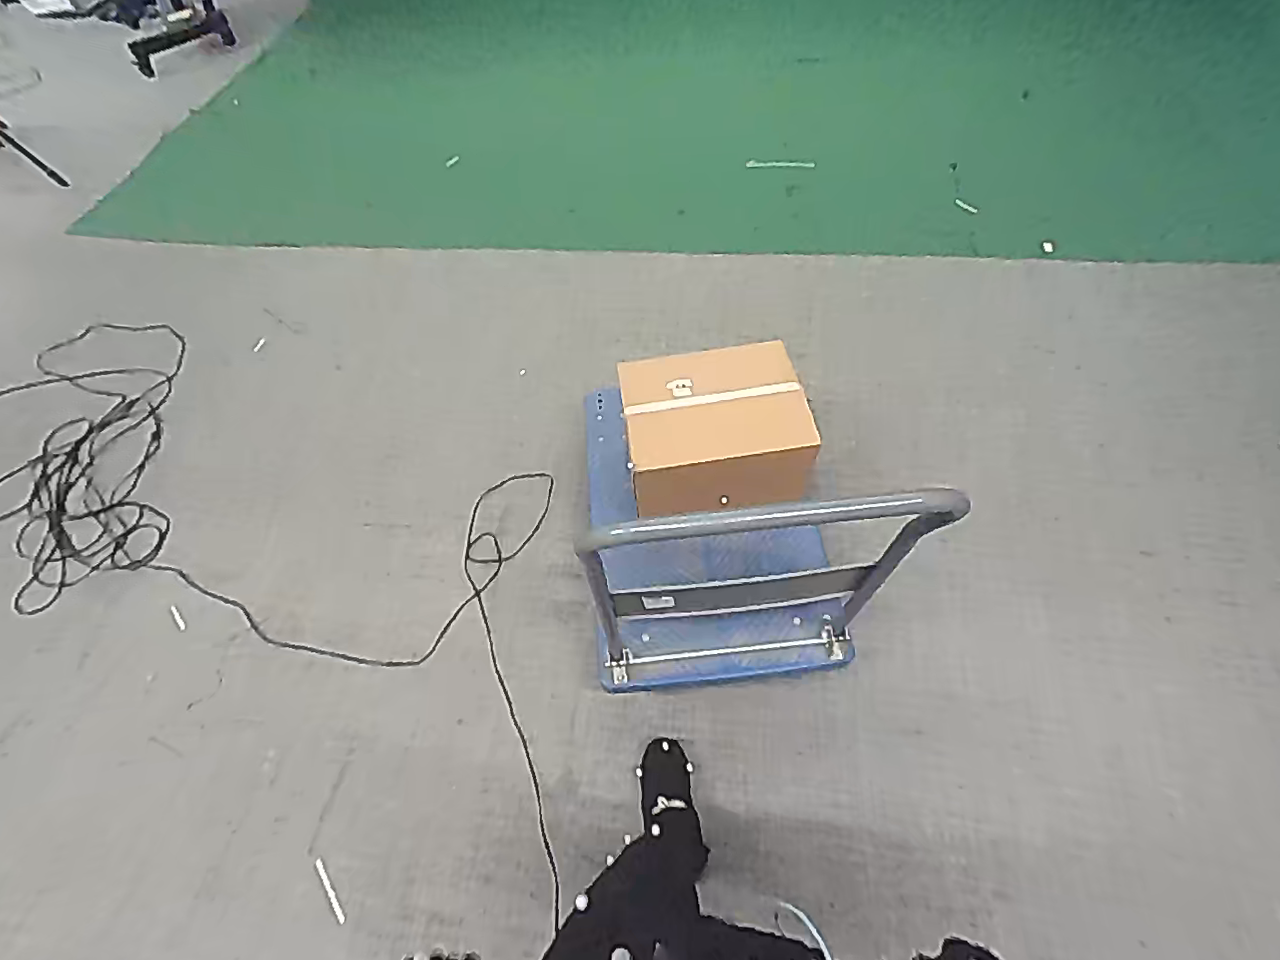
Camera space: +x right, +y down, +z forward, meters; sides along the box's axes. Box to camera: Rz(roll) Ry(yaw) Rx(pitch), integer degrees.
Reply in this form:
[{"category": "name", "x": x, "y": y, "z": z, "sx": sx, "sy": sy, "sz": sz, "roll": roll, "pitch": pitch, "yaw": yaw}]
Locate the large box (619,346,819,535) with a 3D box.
[{"category": "large box", "x": 0.178, "y": -0.089, "z": 1.353, "sx": 0.408, "sy": 0.320, "sz": 0.320, "roll": -9, "pitch": 58, "yaw": -1}]
